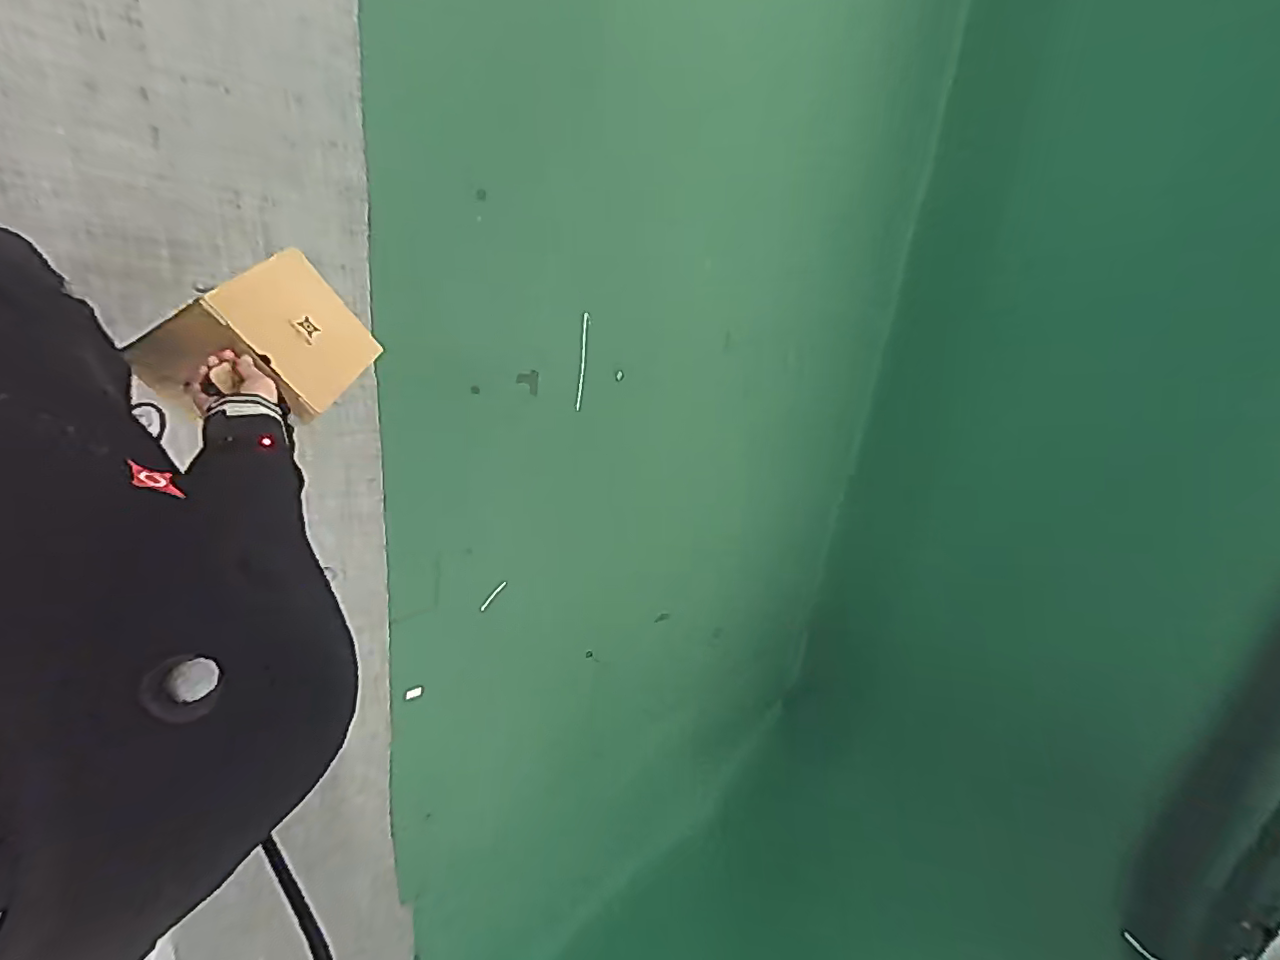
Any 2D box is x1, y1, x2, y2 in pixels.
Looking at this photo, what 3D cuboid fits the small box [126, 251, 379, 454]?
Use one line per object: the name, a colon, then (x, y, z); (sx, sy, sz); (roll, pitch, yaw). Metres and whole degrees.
small box: (-0.491, -0.163, 0.702); (0.168, 0.176, 0.179); (58, 25, -34)
